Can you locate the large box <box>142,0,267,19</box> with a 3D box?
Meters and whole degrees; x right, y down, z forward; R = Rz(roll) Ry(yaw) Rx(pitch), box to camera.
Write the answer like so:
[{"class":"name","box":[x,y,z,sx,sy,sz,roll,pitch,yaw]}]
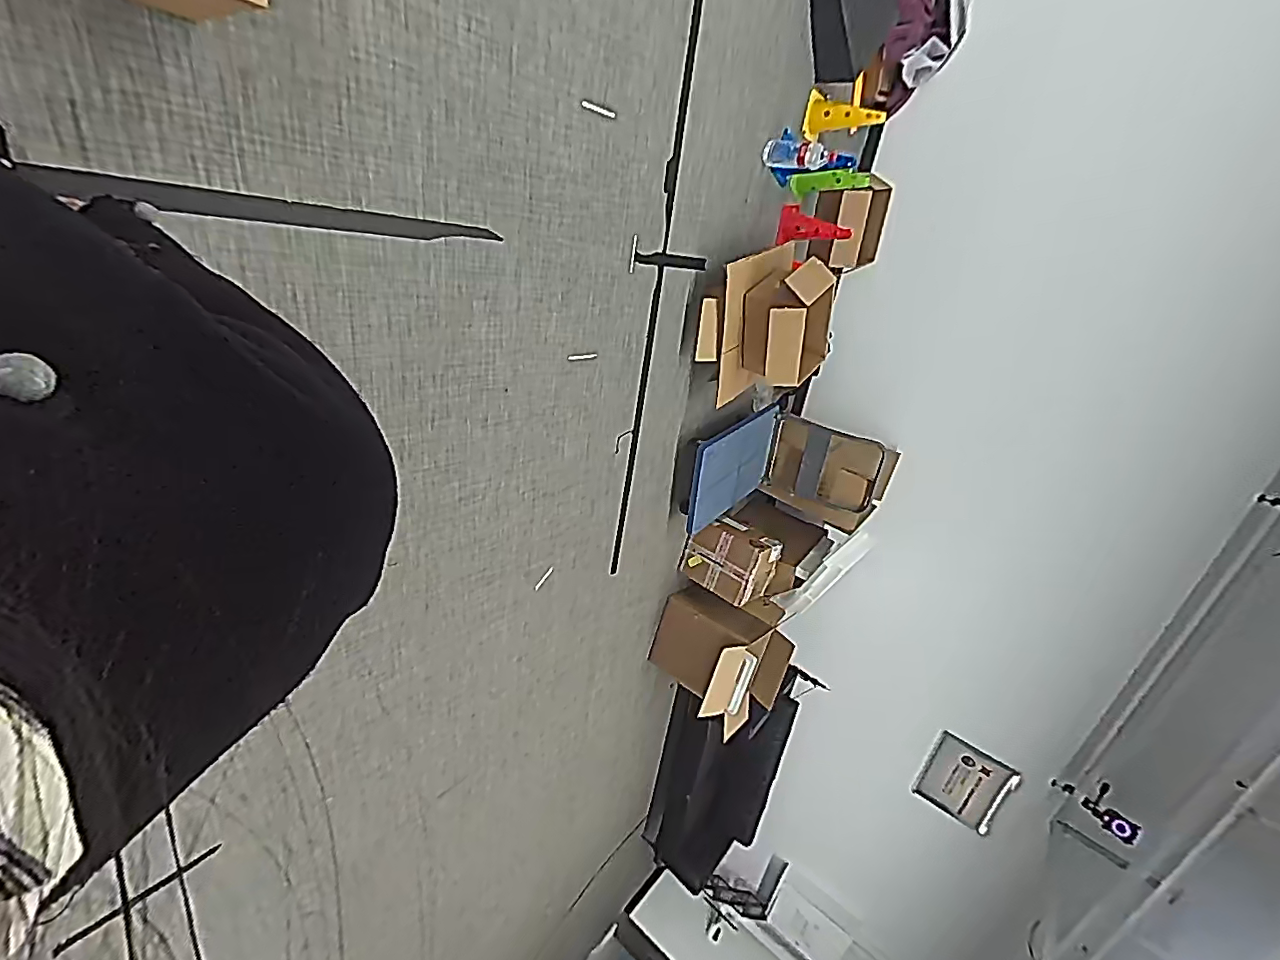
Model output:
[{"class":"large box","box":[-0.788,-0.882,0.704,0.408,0.320,0.320,-19,127,-50]}]
